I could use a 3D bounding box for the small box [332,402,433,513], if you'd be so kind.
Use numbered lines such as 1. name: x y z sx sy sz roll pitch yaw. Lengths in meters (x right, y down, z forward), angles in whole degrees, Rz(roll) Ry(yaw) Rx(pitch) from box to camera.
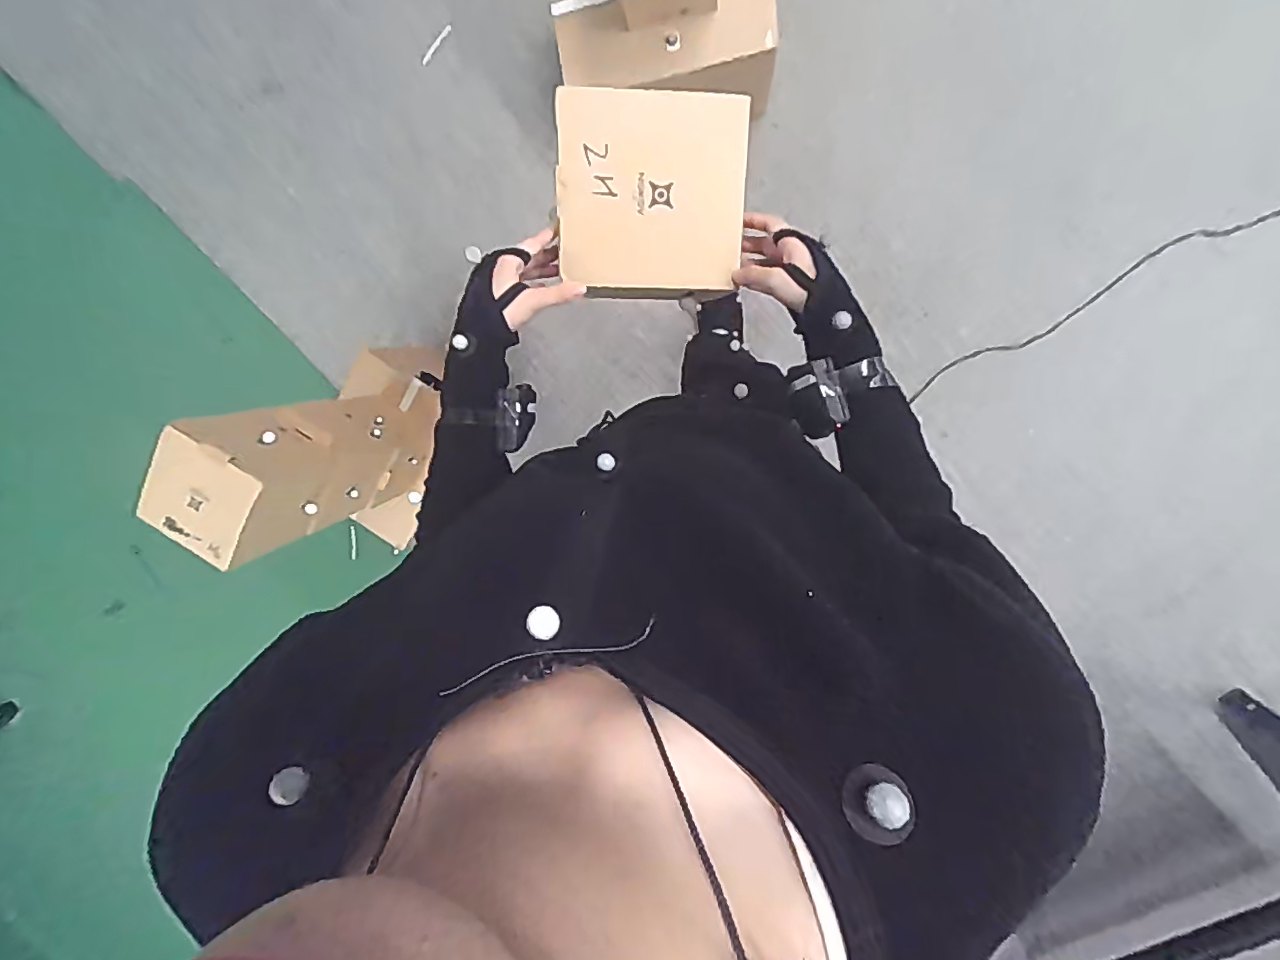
1. small box: -0.593 -0.059 1.187 0.179 0.176 0.168 34 106 0

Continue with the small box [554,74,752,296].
1. small box: 0.005 -0.287 0.565 0.179 0.176 0.168 0 104 -4

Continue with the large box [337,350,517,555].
1. large box: -0.589 -0.090 1.433 0.320 0.320 0.408 34 108 1

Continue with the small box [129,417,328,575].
1. small box: -0.646 0.014 0.871 0.168 0.176 0.179 34 105 0

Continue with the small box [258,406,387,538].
1. small box: -0.618 -0.025 1.029 0.168 0.176 0.179 33 106 0
